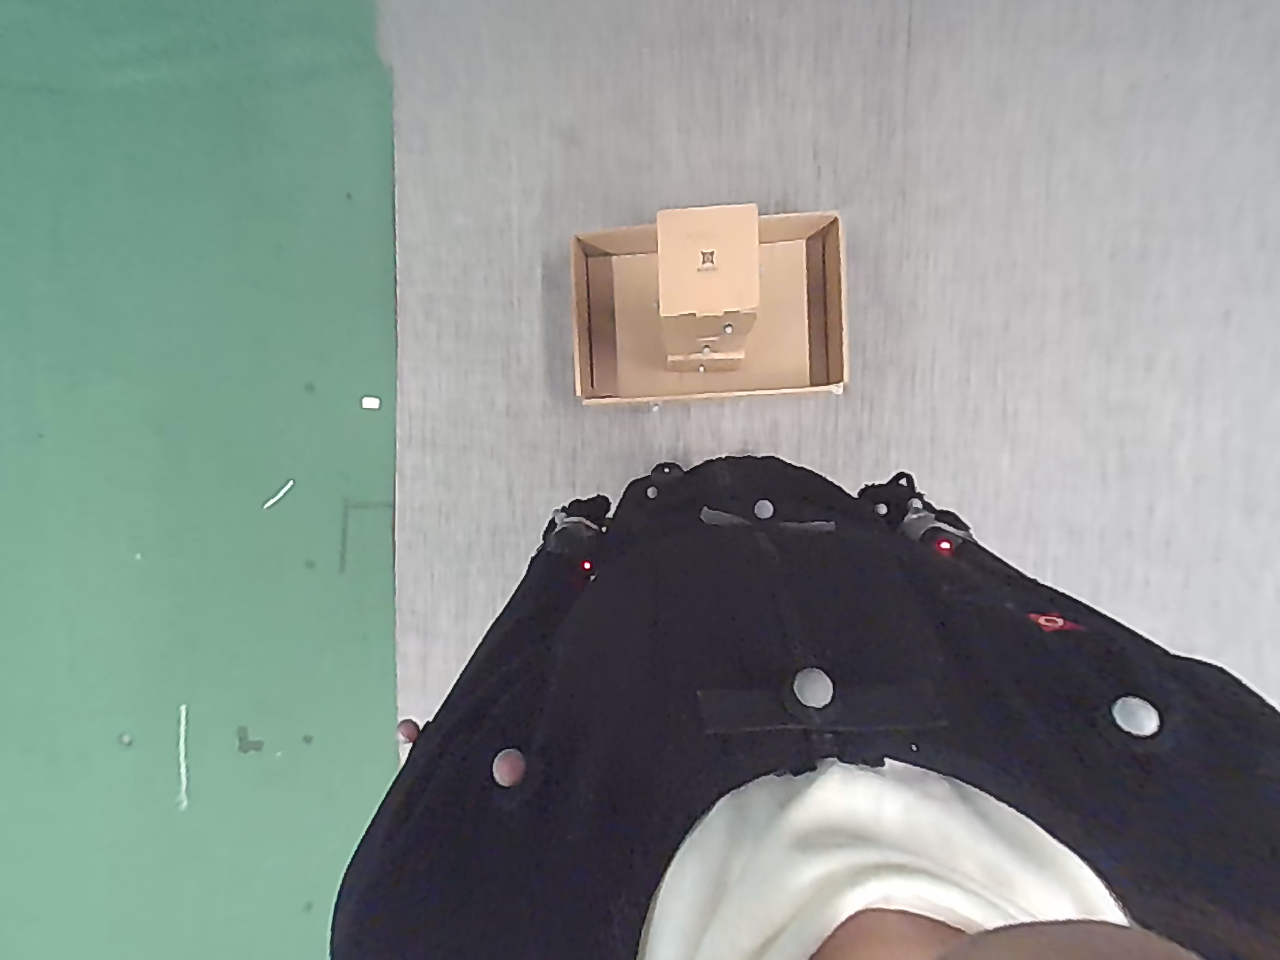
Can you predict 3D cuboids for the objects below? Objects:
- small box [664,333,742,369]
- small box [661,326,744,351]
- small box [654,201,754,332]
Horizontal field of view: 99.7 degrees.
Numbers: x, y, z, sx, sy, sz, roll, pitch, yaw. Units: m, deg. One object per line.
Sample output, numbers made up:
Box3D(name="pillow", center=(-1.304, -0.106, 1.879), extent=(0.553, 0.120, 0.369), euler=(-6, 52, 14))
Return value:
Box3D(name="small box", center=(0.151, -0.366, 1.306), extent=(0.179, 0.176, 0.168), euler=(1, 91, 6))
Box3D(name="small box", center=(0.129, -0.377, 1.147), extent=(0.168, 0.176, 0.179), euler=(-4, 91, 6))
Box3D(name="small box", center=(0.112, -0.368, 0.966), extent=(0.168, 0.176, 0.179), euler=(-2, 91, 4))
